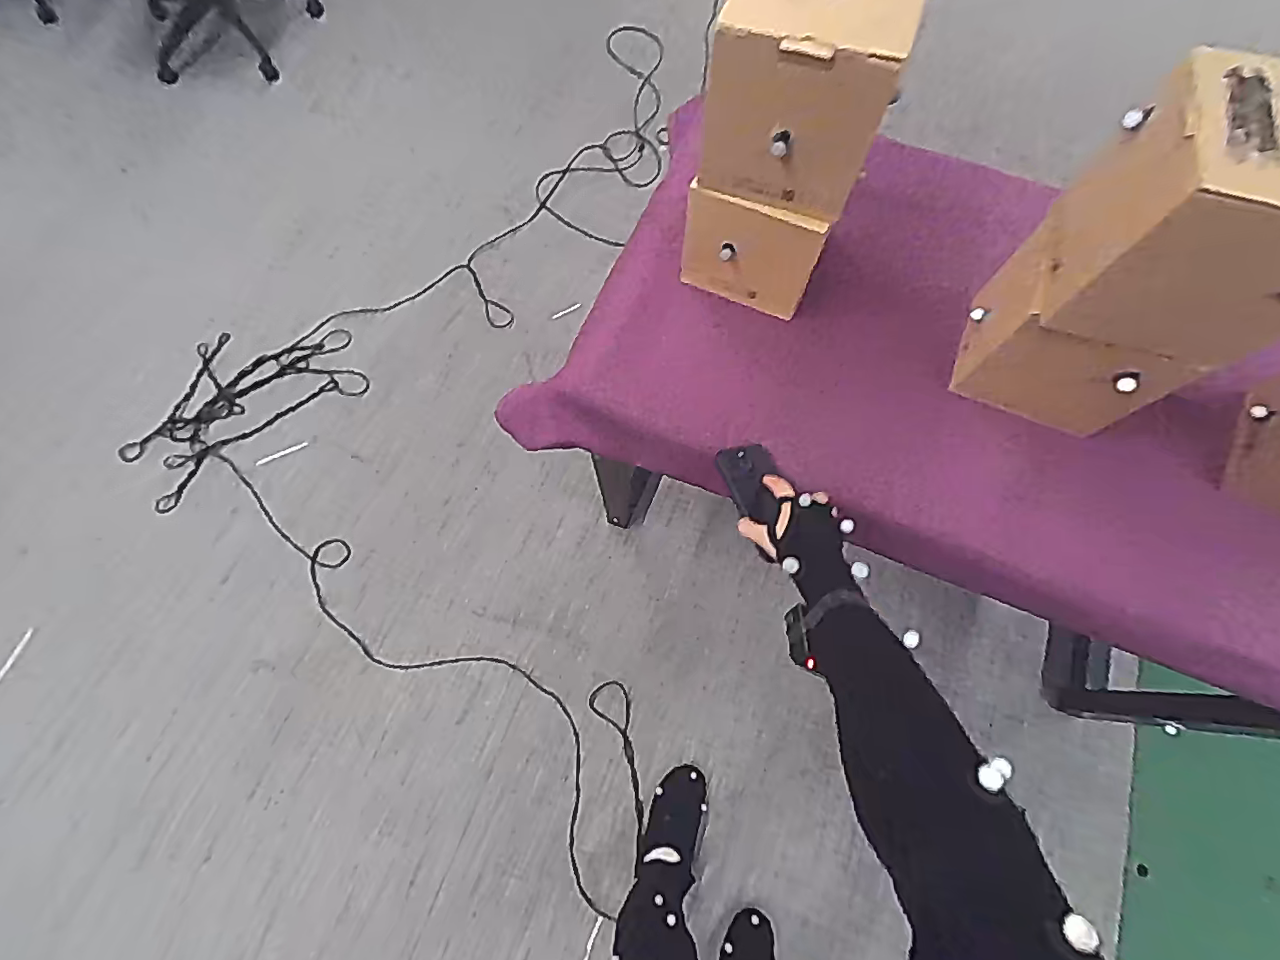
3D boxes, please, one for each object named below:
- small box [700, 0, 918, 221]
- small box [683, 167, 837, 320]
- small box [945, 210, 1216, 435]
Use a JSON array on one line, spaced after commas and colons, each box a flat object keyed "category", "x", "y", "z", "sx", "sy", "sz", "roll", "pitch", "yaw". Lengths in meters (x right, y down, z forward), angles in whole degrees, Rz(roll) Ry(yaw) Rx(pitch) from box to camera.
[{"category": "small box", "x": 0.166, "y": -0.408, "z": 0.561, "sx": 0.168, "sy": 0.176, "sz": 0.179, "roll": 19, "pitch": 72, "yaw": 7}, {"category": "small box", "x": 0.164, "y": -0.345, "z": 0.713, "sx": 0.168, "sy": 0.176, "sz": 0.179, "roll": 24, "pitch": 72, "yaw": 9}, {"category": "small box", "x": 0.509, "y": -0.175, "z": 0.647, "sx": 0.179, "sy": 0.176, "sz": 0.168, "roll": 23, "pitch": 72, "yaw": 9}]
